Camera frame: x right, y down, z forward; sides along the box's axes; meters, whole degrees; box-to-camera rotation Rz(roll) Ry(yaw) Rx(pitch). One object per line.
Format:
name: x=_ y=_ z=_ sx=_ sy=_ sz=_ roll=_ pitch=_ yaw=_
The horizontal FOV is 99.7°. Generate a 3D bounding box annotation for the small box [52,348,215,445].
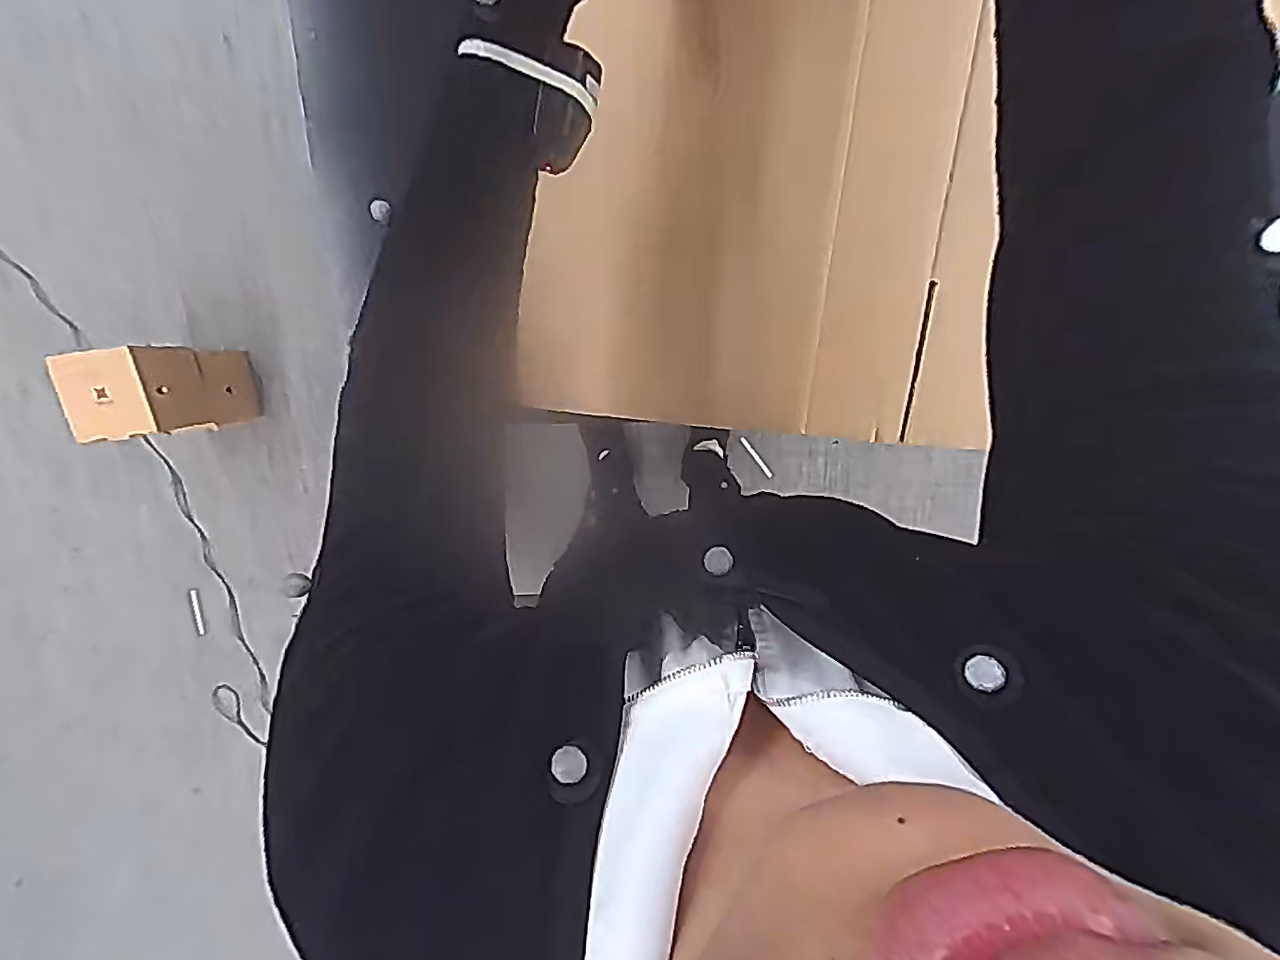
small box: x=-1.061 y=-0.182 z=1.152 sx=0.168 sy=0.176 sz=0.179 roll=-9 pitch=102 yaw=-1

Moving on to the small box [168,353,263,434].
small box: x=-1.064 y=-0.213 z=1.312 sx=0.168 sy=0.176 sz=0.179 roll=-5 pitch=104 yaw=0
